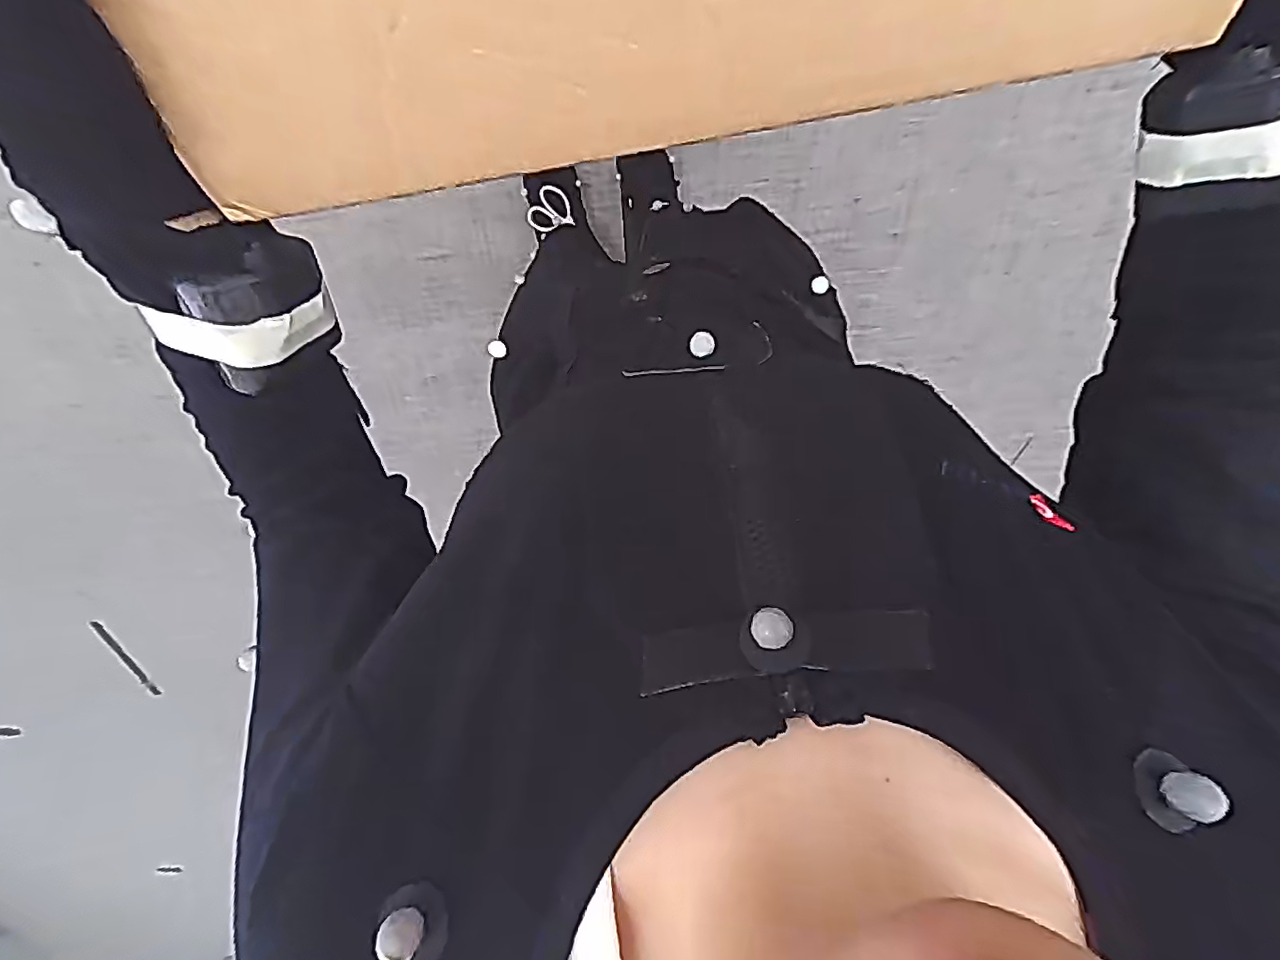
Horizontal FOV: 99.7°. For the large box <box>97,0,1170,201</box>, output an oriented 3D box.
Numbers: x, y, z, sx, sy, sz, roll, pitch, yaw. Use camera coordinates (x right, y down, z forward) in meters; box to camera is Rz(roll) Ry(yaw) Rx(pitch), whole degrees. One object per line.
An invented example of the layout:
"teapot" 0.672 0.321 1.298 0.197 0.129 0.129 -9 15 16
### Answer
"large box" -0.014 -0.363 0.205 0.408 0.320 0.320 -9 140 3
